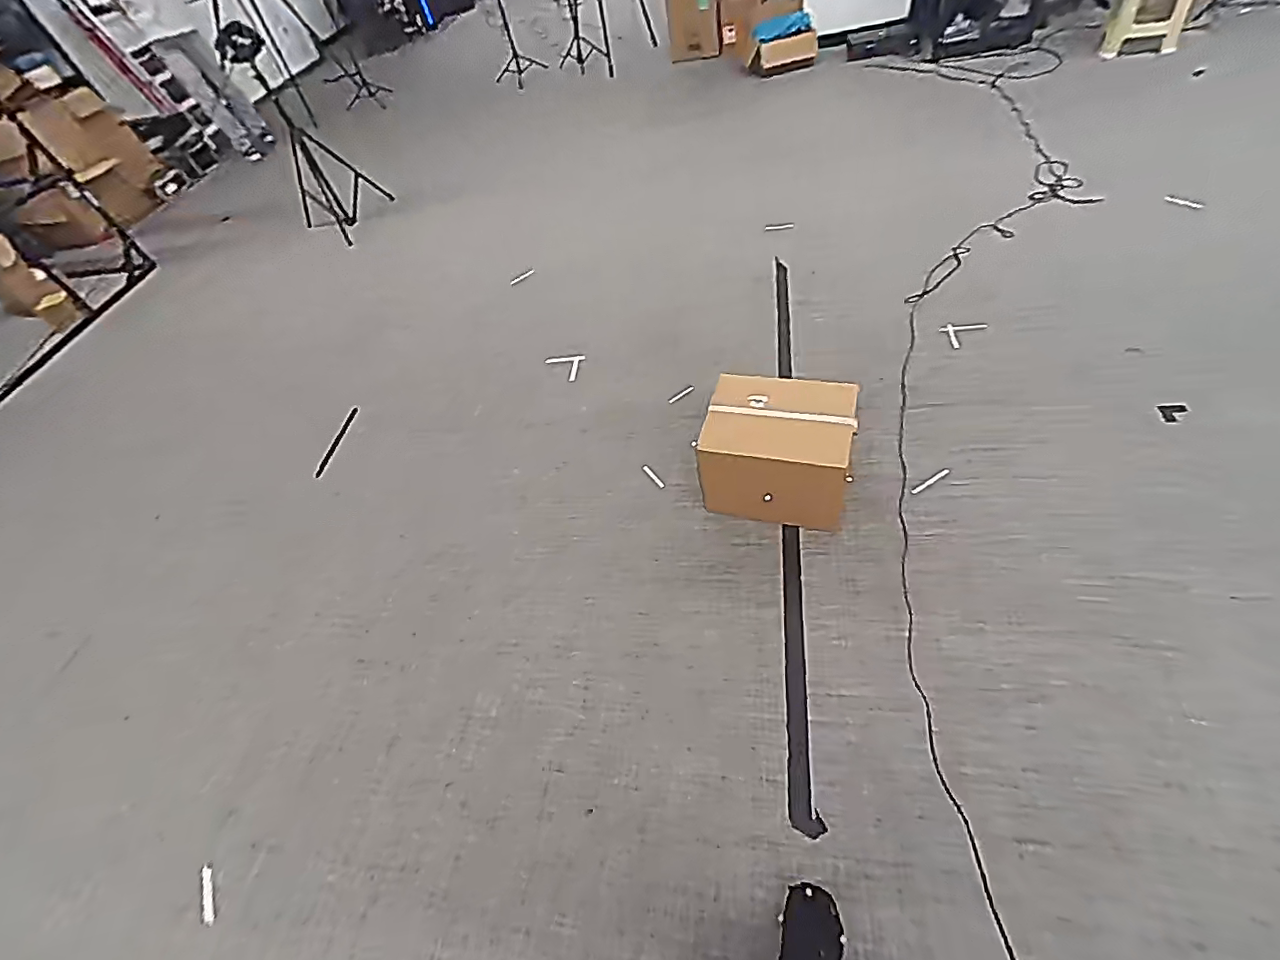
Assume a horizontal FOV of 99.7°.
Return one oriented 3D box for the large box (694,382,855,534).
[{"bbox_3d":[0.411,-0.068,1.625,0.408,0.320,0.320,8,54,21],"label":"large box"}]
